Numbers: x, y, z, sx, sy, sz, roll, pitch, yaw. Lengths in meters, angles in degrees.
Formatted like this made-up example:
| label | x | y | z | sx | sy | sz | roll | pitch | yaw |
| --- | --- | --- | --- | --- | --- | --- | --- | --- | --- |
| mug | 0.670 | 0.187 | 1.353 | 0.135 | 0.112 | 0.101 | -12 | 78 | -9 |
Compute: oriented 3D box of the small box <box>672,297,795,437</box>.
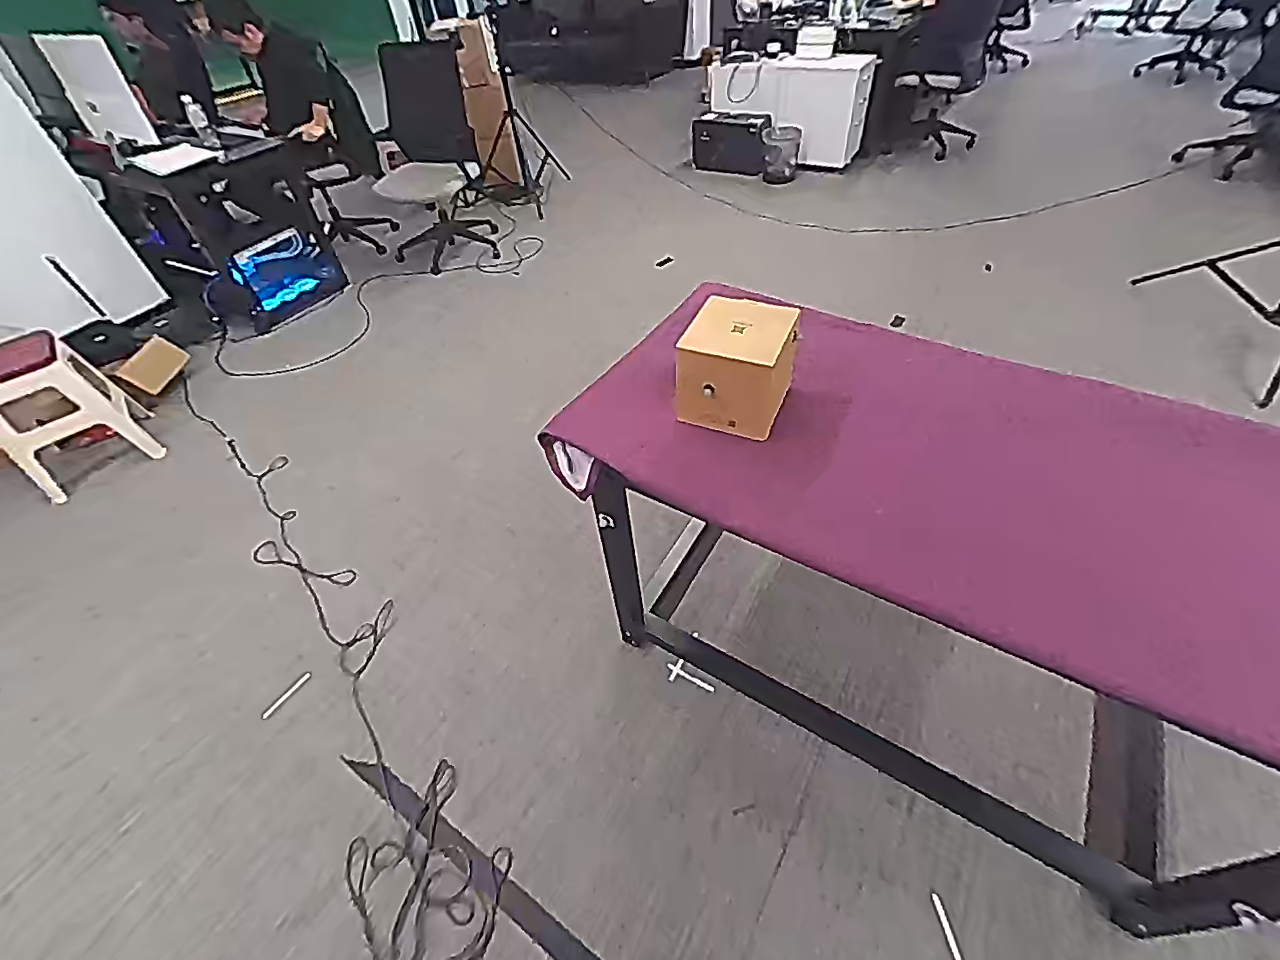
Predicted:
| label | x | y | z | sx | sy | sz | roll | pitch | yaw |
| --- | --- | --- | --- | --- | --- | --- | --- | --- | --- |
| small box | 0.169 | -0.201 | 0.969 | 0.168 | 0.176 | 0.179 | 15 | 51 | 20 |
